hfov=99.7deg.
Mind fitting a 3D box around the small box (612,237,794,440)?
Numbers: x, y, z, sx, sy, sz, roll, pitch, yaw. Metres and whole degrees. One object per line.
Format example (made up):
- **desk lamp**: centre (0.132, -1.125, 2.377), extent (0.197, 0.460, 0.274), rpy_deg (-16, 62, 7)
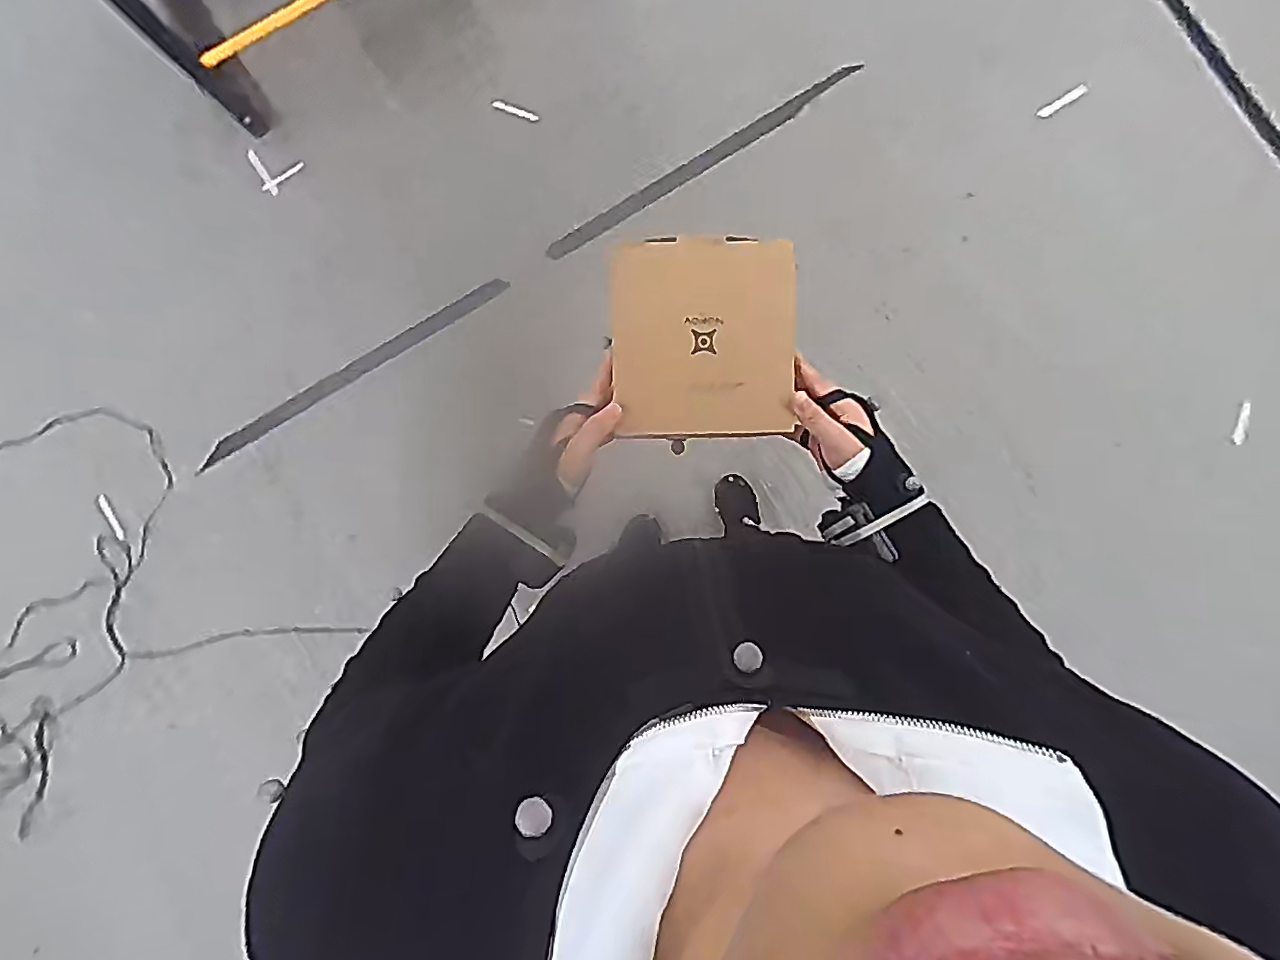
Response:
- **small box**: centre (0.054, -0.133, 0.565), extent (0.168, 0.176, 0.179), rpy_deg (-2, 94, -2)
